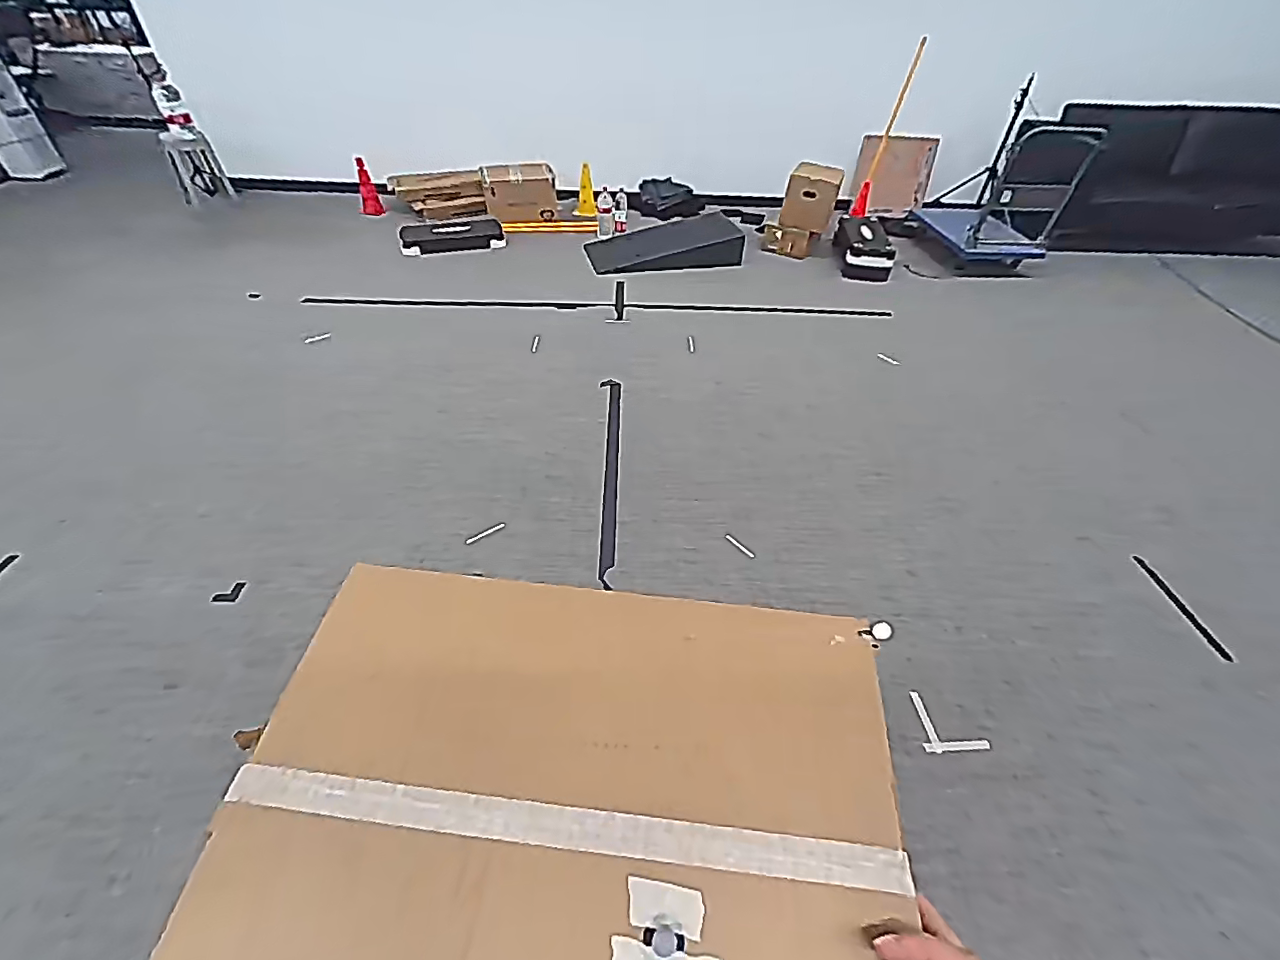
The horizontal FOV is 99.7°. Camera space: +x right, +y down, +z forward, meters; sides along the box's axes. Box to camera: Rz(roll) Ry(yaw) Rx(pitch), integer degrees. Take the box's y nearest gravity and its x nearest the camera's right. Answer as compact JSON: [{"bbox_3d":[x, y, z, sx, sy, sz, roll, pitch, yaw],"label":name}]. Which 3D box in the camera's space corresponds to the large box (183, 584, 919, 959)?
[{"bbox_3d":[-0.044,0.311,0.443,0.408,0.320,0.320,6,52,3],"label":"large box"}]
